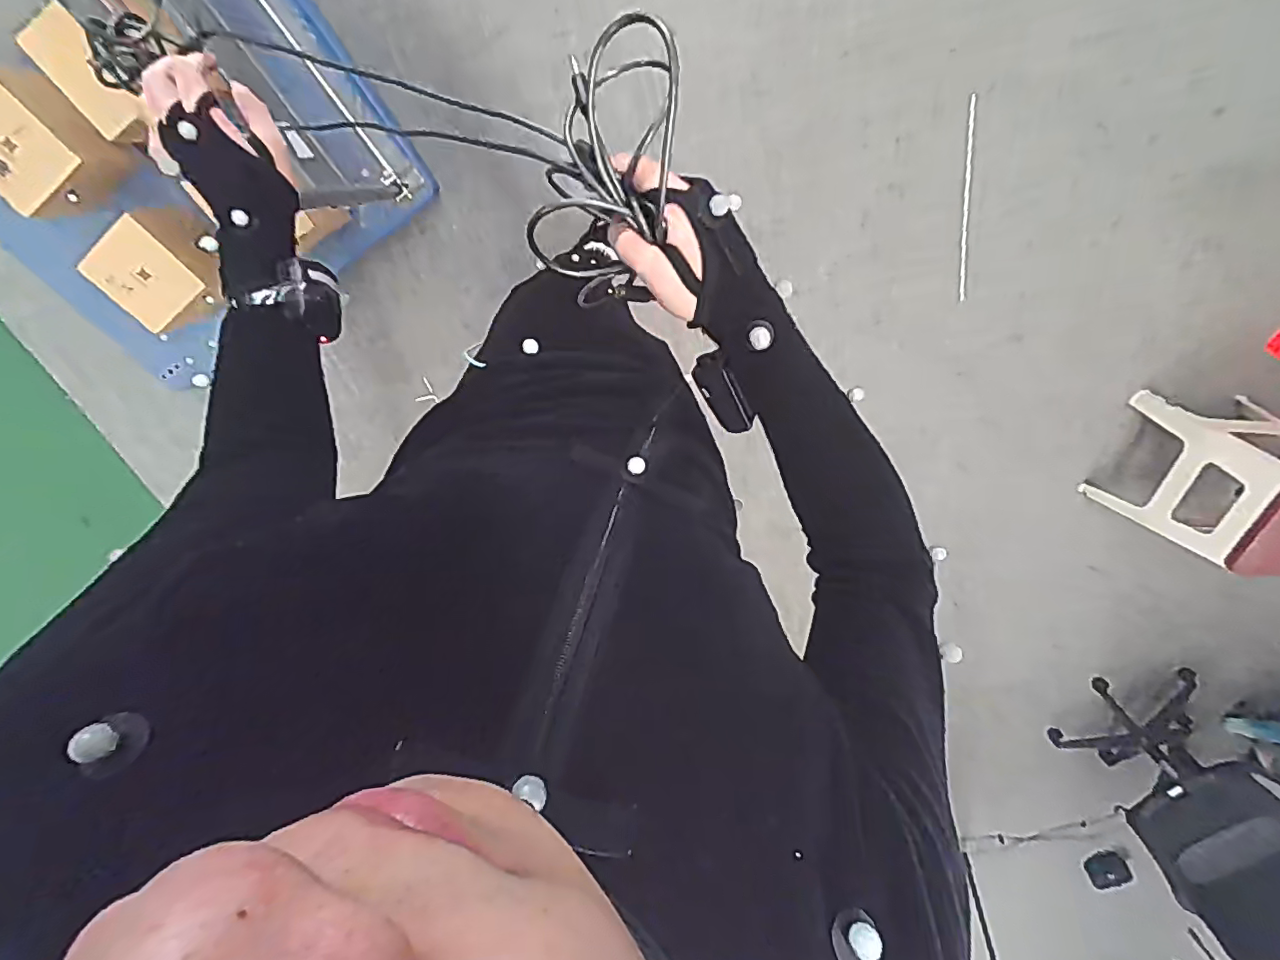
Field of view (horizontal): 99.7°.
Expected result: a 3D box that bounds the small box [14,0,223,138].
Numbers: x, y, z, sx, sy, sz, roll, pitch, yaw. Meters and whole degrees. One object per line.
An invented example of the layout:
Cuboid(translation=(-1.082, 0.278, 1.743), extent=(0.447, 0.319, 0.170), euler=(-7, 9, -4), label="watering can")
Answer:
Cuboid(translation=(-0.910, -0.740, 0.966), extent=(0.179, 0.176, 0.168), euler=(-27, 119, 12), label="small box")

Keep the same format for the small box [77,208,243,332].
Cuboid(translation=(-0.990, -0.447, 1.139), extent=(0.179, 0.176, 0.168), euler=(-32, 117, 15), label="small box")

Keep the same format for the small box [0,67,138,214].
Cuboid(translation=(-1.121, -0.631, 1.019), extent=(0.179, 0.176, 0.168), euler=(-30, 119, 13), label="small box")
